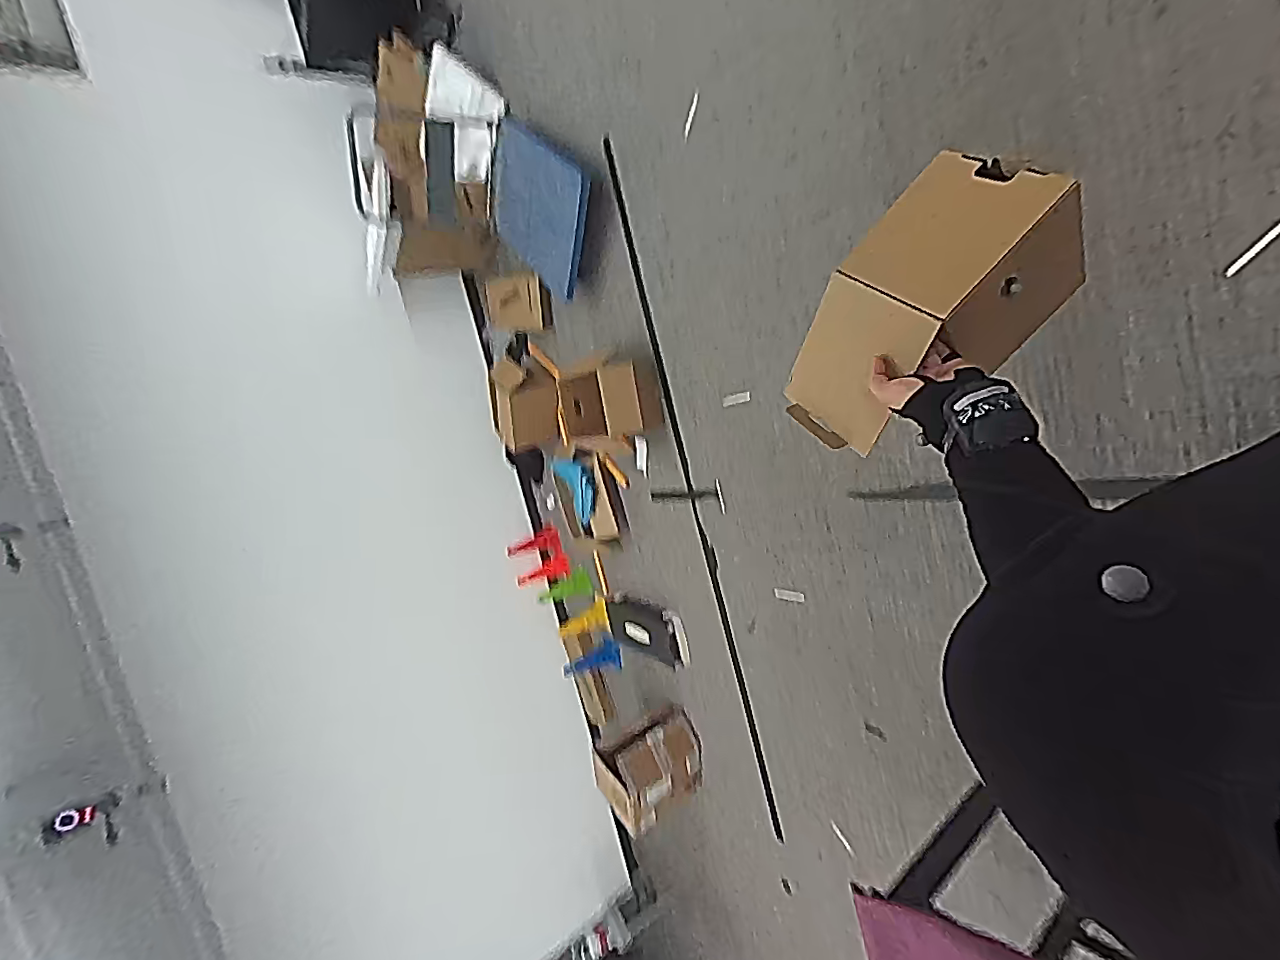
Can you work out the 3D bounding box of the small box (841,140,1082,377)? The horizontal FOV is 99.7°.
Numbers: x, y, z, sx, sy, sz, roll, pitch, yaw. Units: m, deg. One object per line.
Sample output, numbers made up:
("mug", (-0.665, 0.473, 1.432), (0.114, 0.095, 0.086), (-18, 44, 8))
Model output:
("small box", (0.385, -0.255, 0.645), (0.179, 0.176, 0.168), (-48, 47, 13))
